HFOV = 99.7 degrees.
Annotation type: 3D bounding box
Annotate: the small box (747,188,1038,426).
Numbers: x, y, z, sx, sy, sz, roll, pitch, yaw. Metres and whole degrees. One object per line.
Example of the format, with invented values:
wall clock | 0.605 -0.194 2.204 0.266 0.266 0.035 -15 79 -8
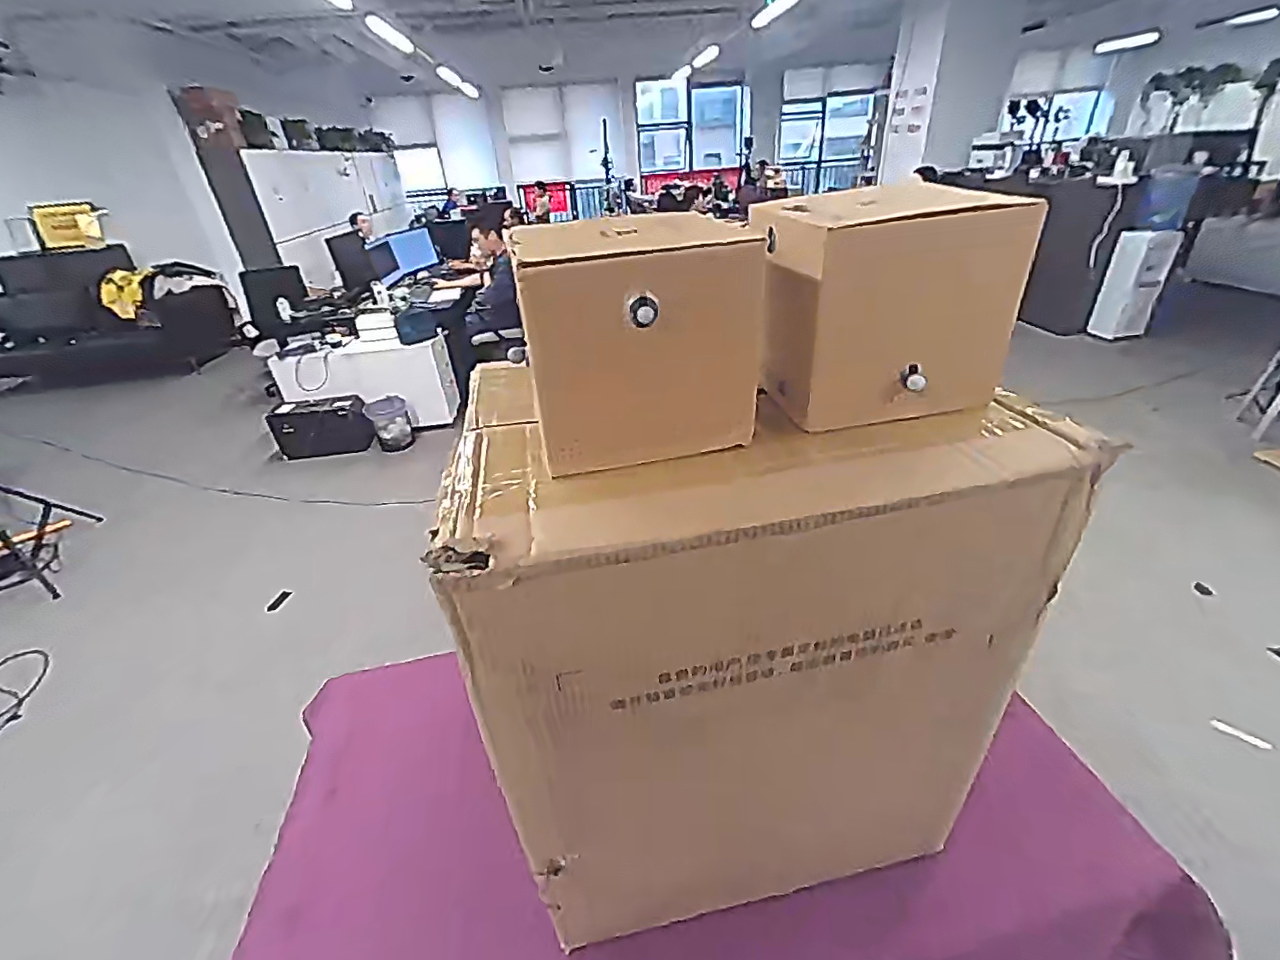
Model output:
small box | 0.208 -0.165 0.505 0.179 0.176 0.168 -9 32 -6
